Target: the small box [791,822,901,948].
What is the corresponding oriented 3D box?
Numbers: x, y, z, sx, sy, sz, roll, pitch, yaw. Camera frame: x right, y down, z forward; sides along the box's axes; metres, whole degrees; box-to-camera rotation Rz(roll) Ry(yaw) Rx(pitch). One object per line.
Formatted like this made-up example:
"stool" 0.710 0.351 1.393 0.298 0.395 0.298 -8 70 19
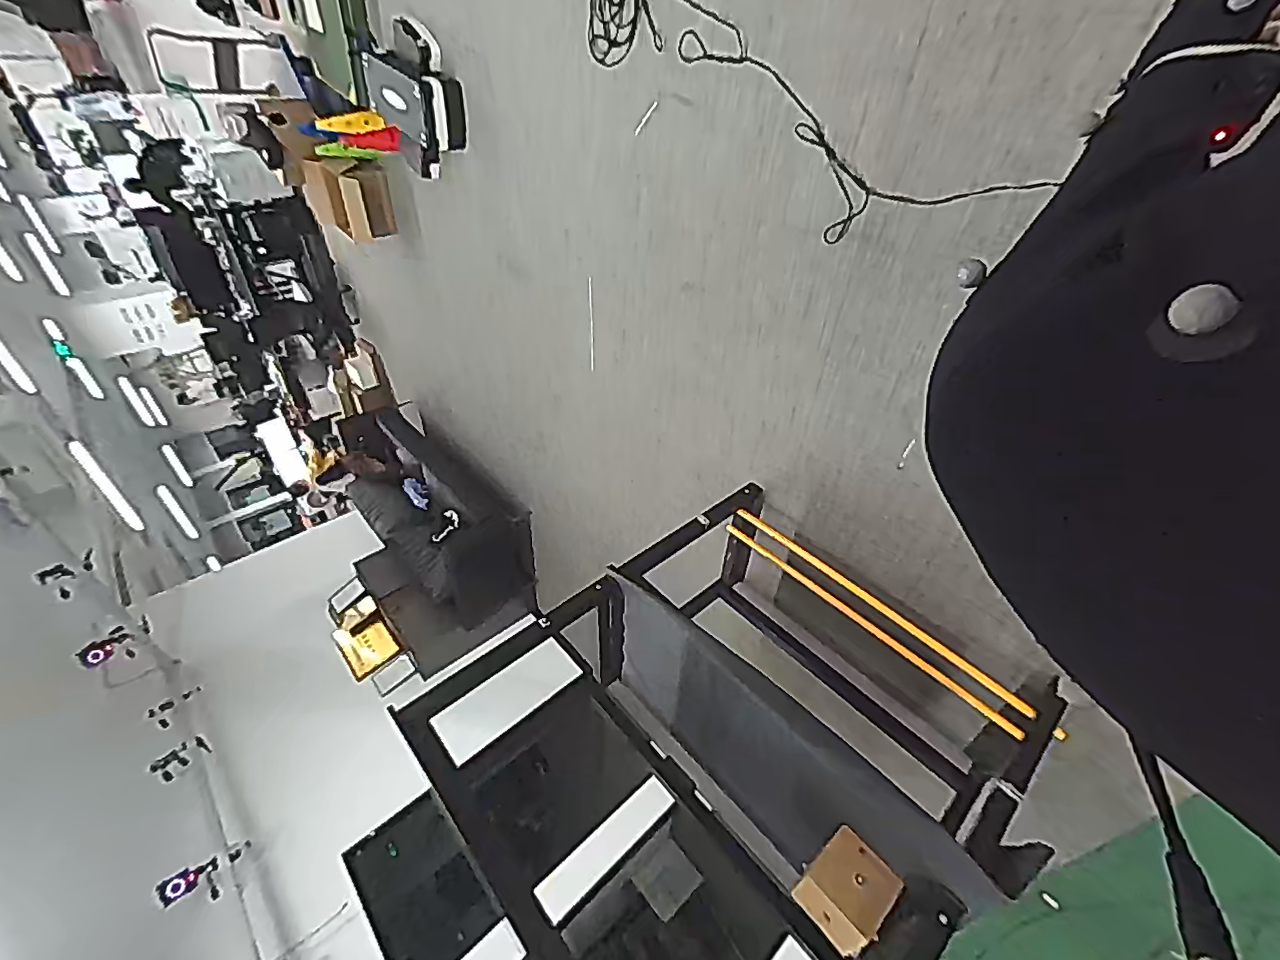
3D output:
"small box" 0.505 0.983 1.322 0.168 0.176 0.179 39 142 32
